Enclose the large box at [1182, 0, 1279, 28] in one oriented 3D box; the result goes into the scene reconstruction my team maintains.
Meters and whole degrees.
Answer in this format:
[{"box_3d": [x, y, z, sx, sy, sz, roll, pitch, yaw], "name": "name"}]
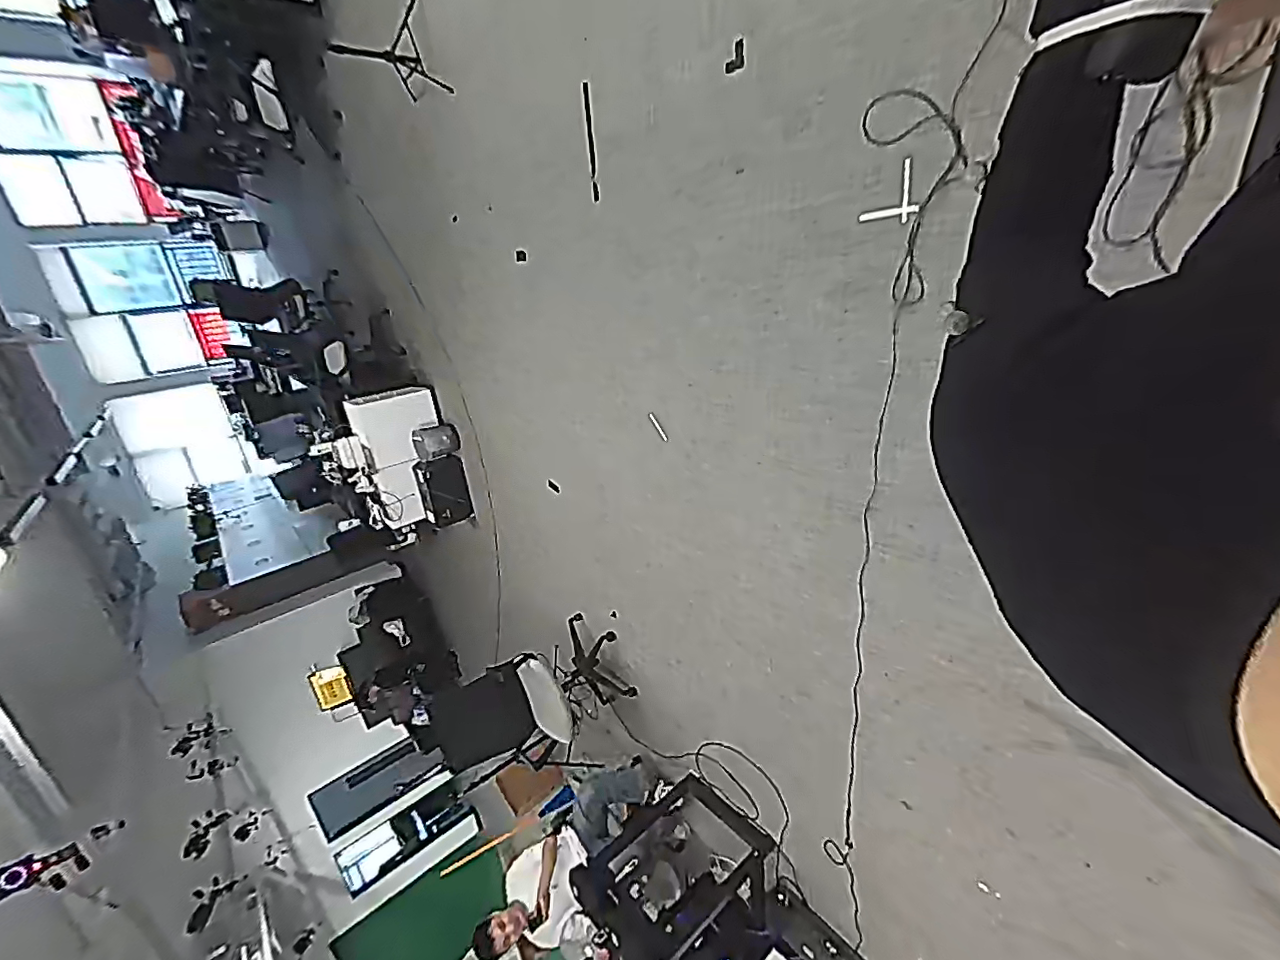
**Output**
[{"box_3d": [0.558, -0.495, 0.252, 0.408, 0.320, 0.320, 15, 124, 46], "name": "large box"}]
